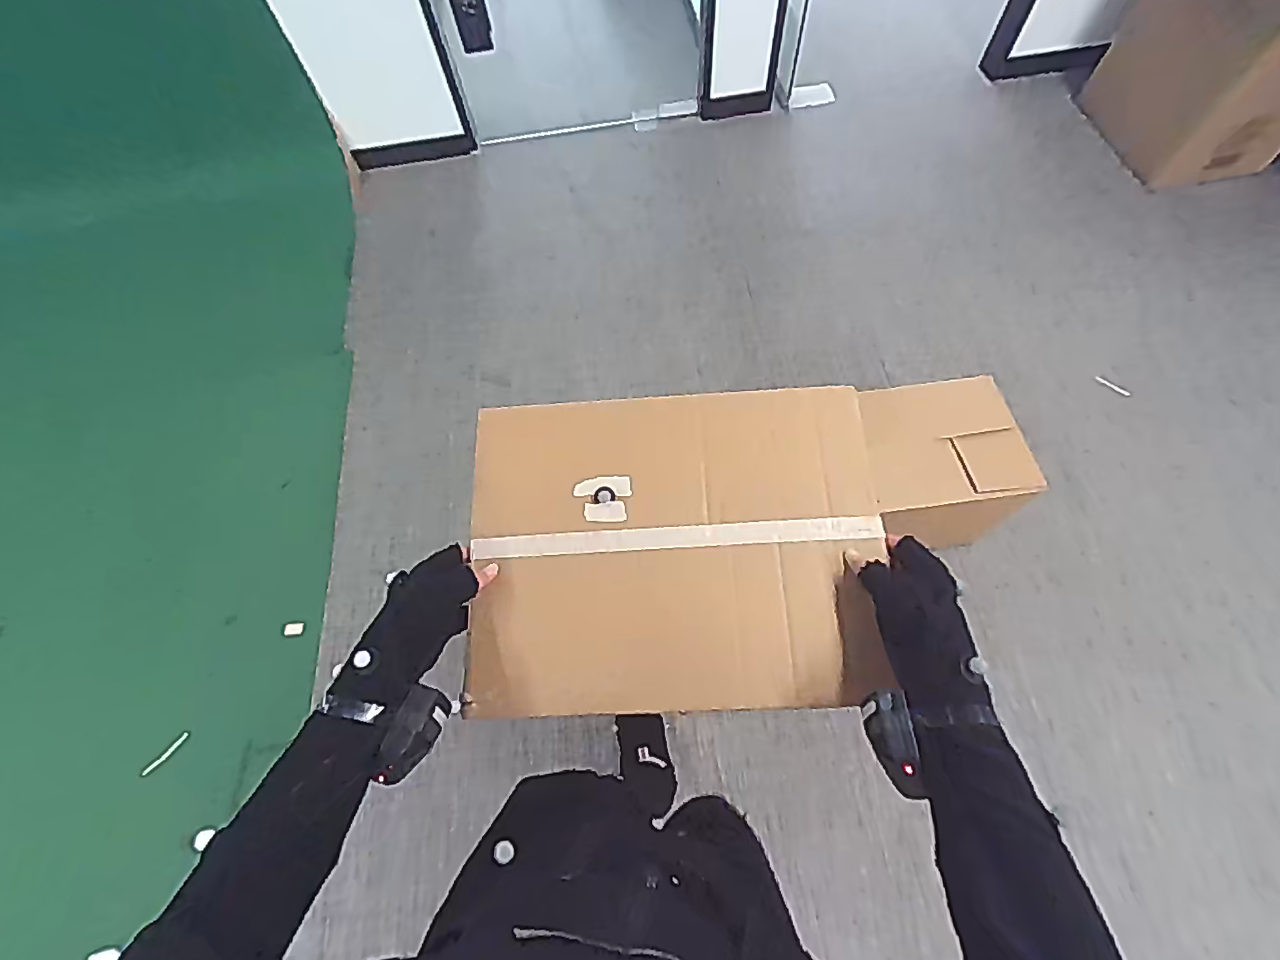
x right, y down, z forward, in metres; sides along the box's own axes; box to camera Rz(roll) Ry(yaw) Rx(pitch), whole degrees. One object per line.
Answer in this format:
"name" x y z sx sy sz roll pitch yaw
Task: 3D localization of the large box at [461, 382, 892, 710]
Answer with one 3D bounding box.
"large box" 0.036 0.099 0.679 0.408 0.320 0.320 -3 72 4
